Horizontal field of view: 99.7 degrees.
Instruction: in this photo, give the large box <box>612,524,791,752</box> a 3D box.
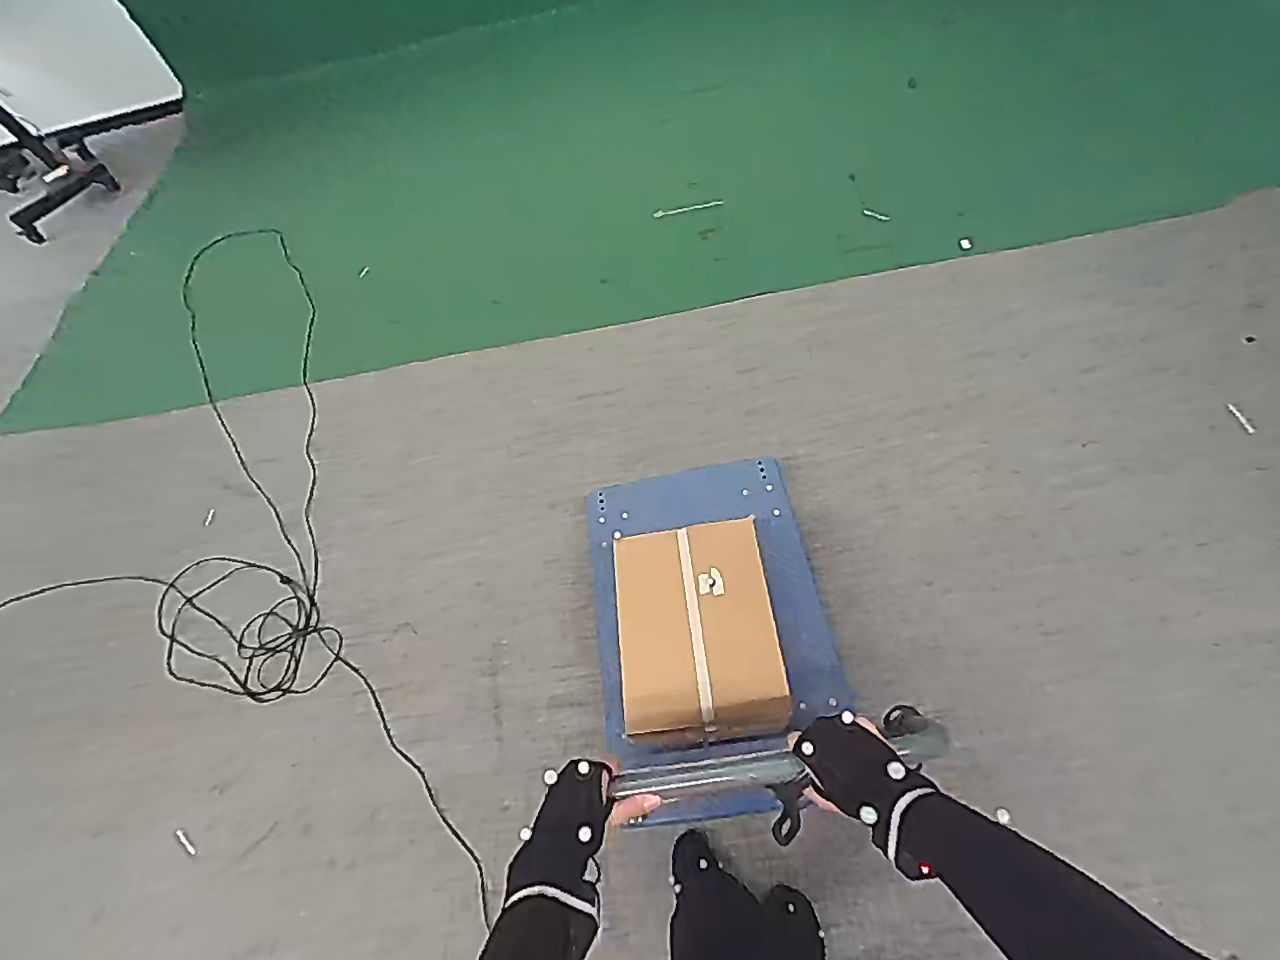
[{"bbox_3d":[0.133,0.365,1.222,0.320,0.320,0.408,-9,58,5],"label":"large box"}]
